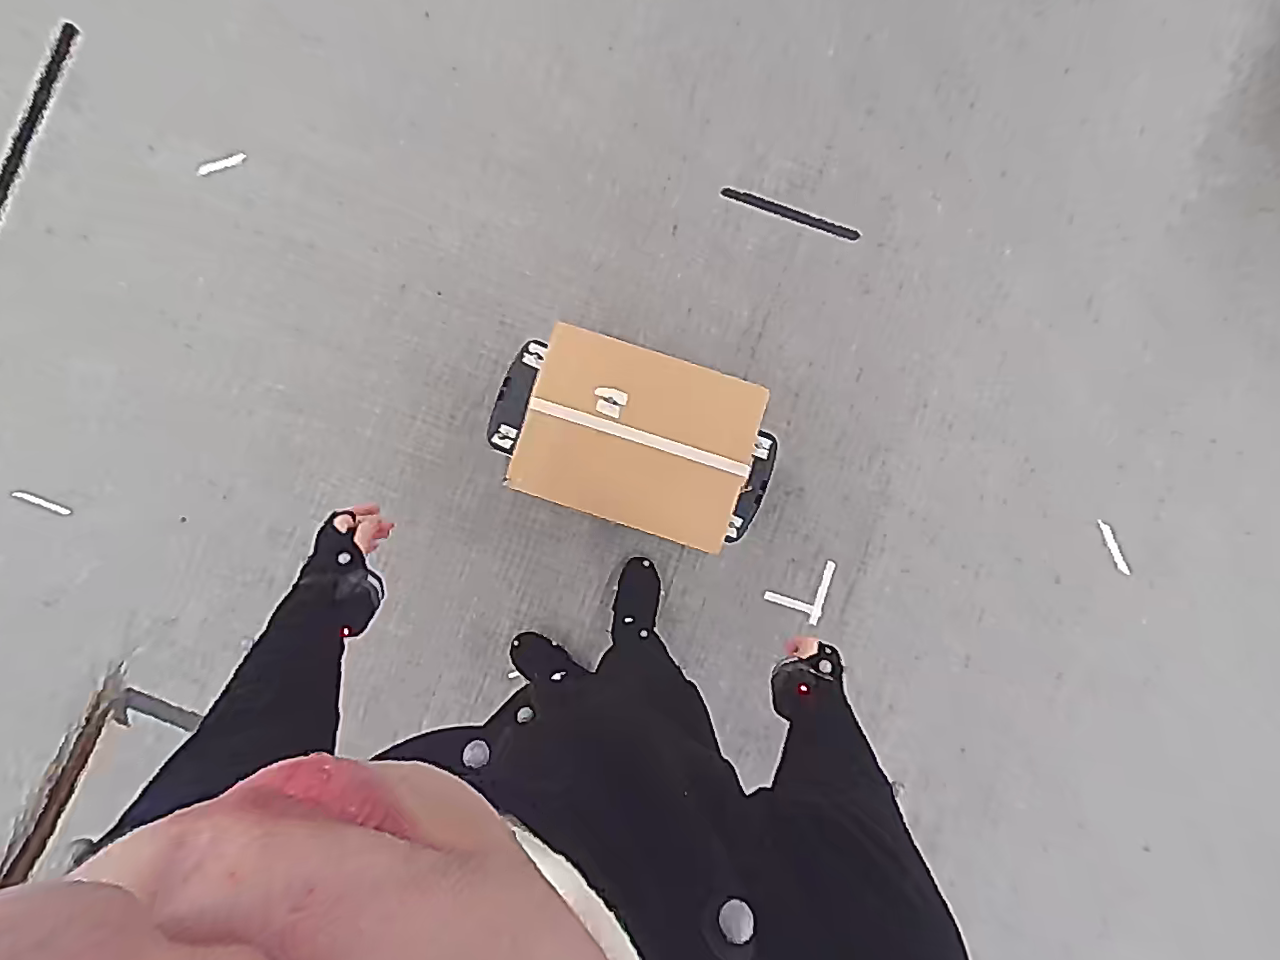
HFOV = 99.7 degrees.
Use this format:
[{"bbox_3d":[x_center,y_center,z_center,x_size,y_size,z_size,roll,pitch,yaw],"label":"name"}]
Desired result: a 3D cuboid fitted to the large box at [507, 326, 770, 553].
[{"bbox_3d":[0.002,-0.068,1.099,0.408,0.320,0.320,18,88,1],"label":"large box"}]
